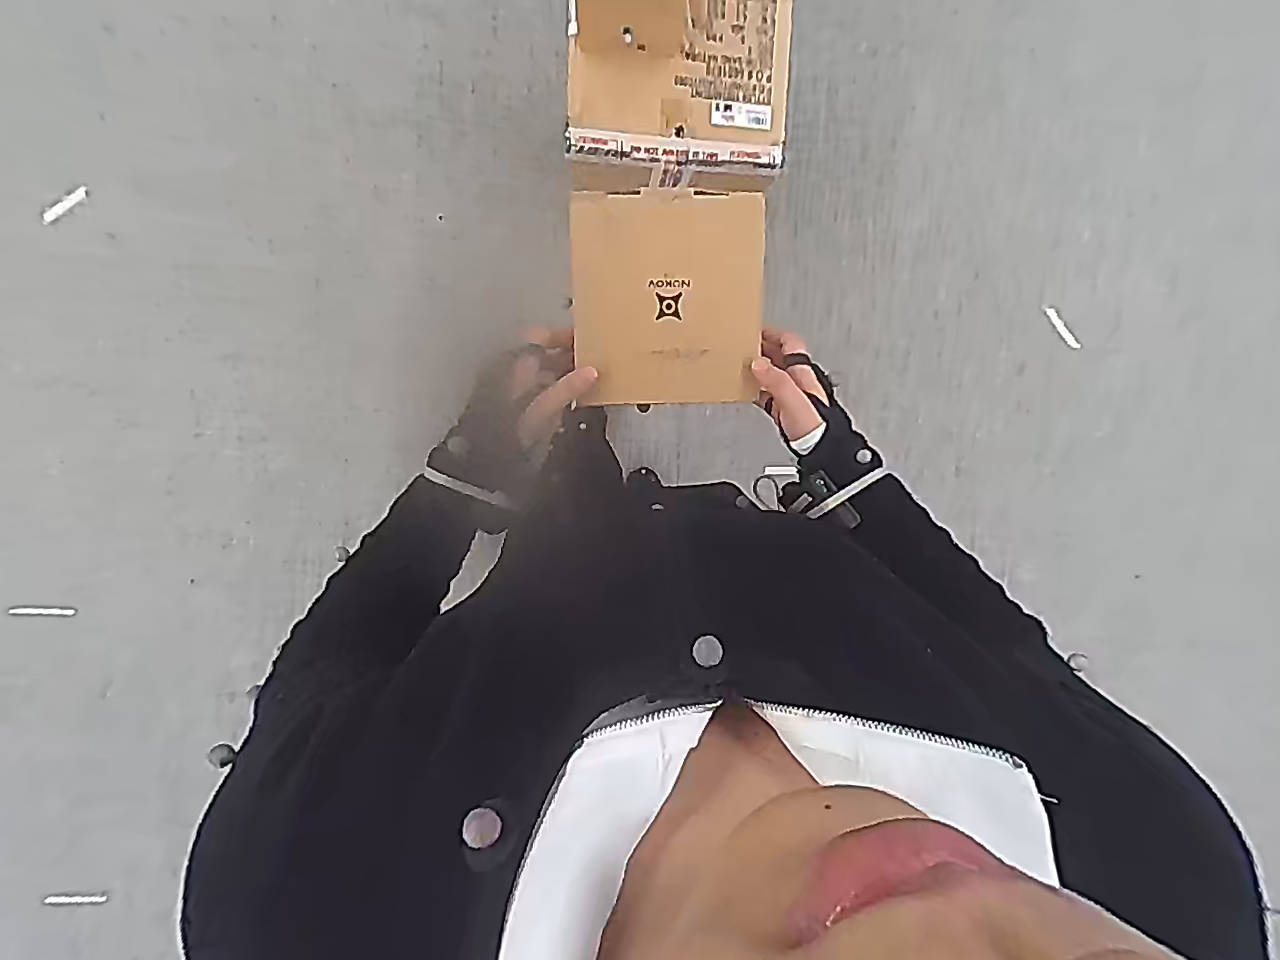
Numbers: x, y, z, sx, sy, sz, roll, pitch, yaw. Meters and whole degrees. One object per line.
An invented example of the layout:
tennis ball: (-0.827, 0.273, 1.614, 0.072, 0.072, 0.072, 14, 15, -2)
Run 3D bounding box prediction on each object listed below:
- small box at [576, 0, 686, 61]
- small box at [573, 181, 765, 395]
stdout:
small box: (-0.014, -0.794, 0.828, 0.168, 0.176, 0.179, 2, 98, -3)
small box: (0.018, -0.178, 0.542, 0.168, 0.176, 0.179, -2, 103, -4)
